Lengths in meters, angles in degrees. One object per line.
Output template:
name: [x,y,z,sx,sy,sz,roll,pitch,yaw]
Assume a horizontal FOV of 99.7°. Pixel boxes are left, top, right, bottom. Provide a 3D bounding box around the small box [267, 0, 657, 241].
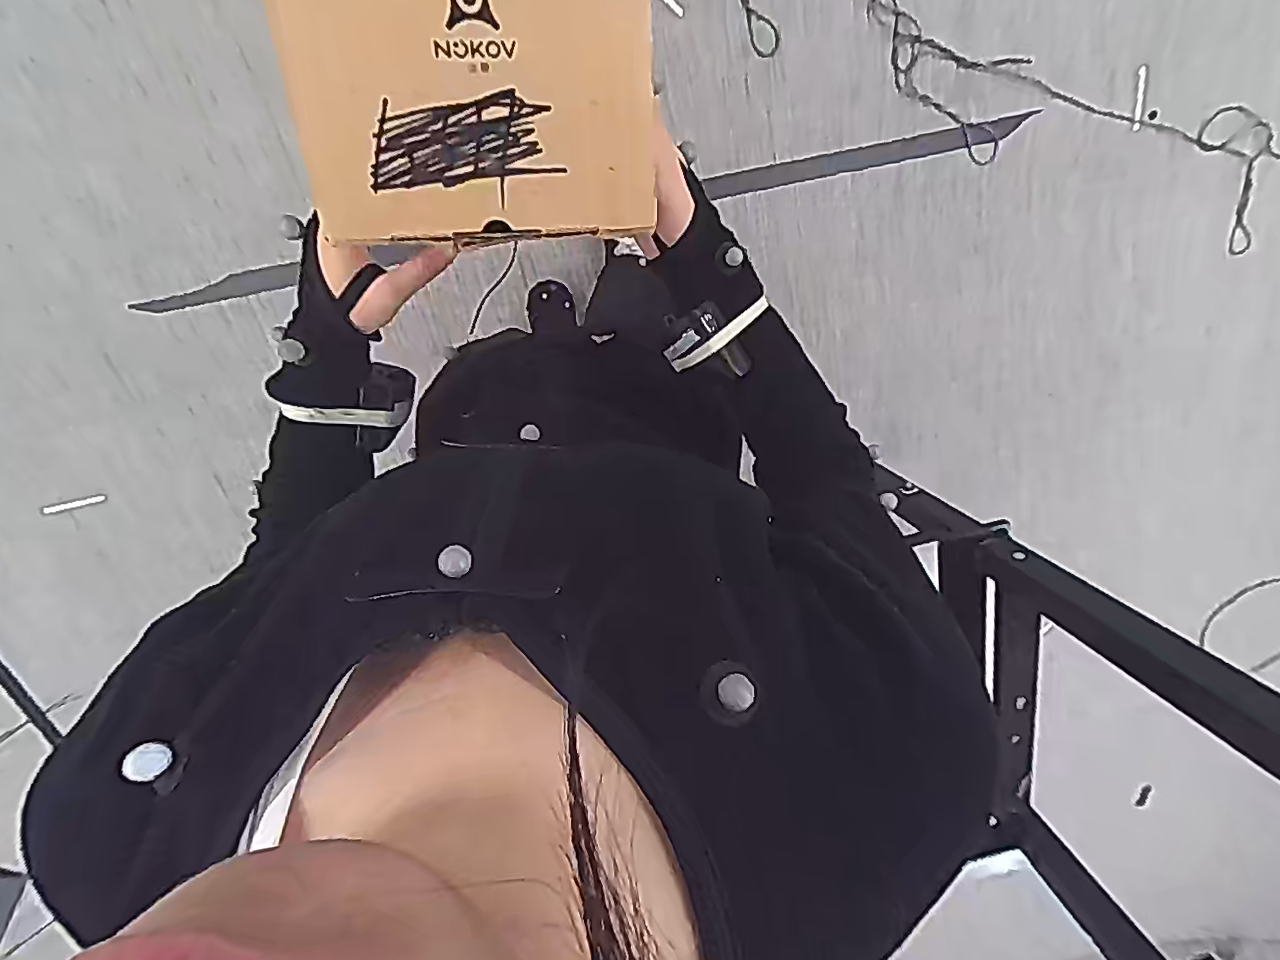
small box: [-0.085,-0.235,0.306,0.168,0.176,0.179,-6,114,-8]
